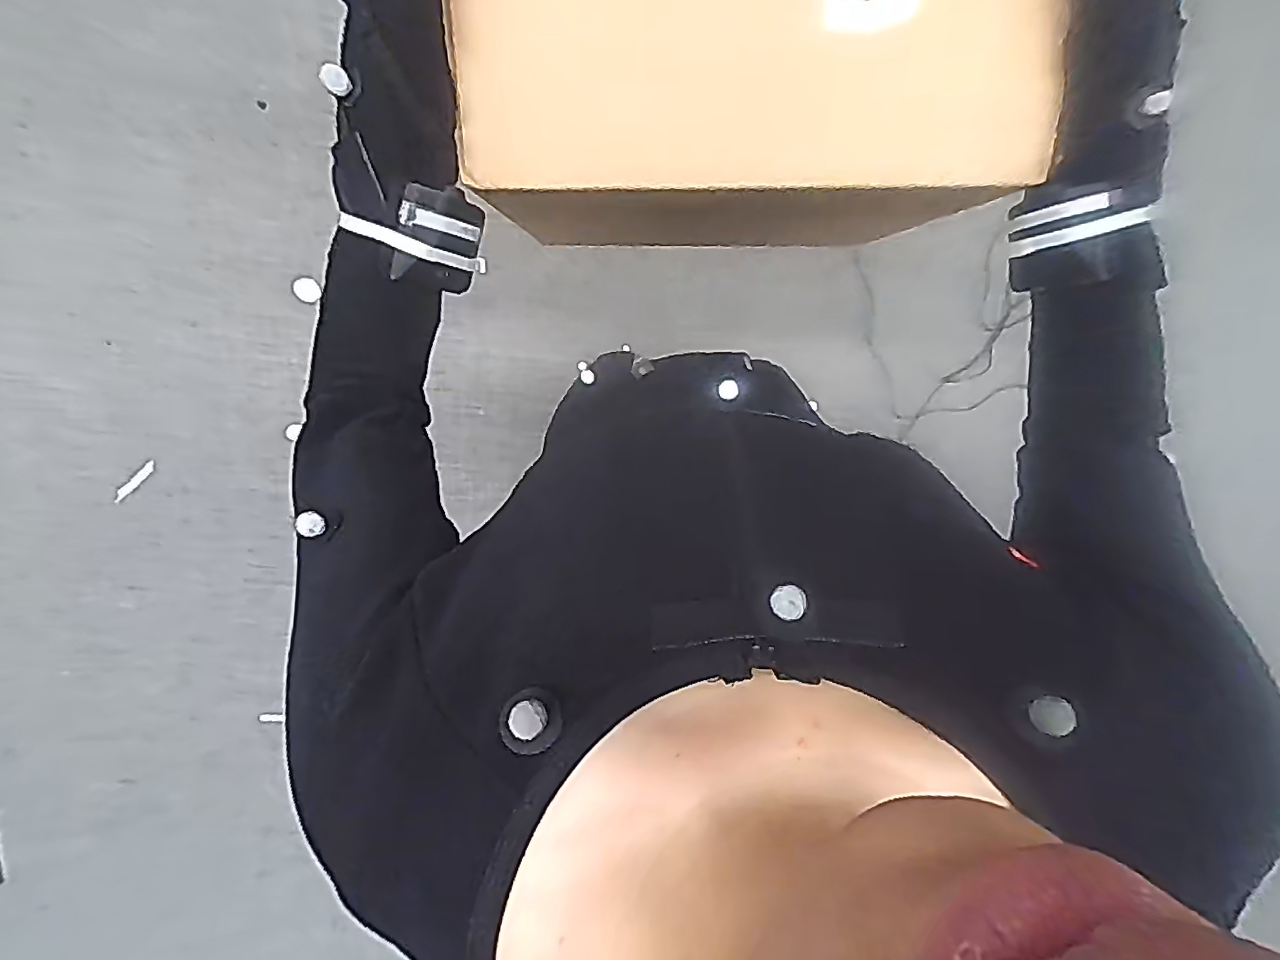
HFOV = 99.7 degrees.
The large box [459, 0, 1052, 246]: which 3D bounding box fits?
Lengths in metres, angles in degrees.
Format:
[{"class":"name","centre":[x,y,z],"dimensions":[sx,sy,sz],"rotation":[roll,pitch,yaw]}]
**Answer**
[{"class":"large box","centre":[0.072,-0.404,0.489],"dimensions":[0.408,0.320,0.320],"rotation":[-1,106,-1]}]
